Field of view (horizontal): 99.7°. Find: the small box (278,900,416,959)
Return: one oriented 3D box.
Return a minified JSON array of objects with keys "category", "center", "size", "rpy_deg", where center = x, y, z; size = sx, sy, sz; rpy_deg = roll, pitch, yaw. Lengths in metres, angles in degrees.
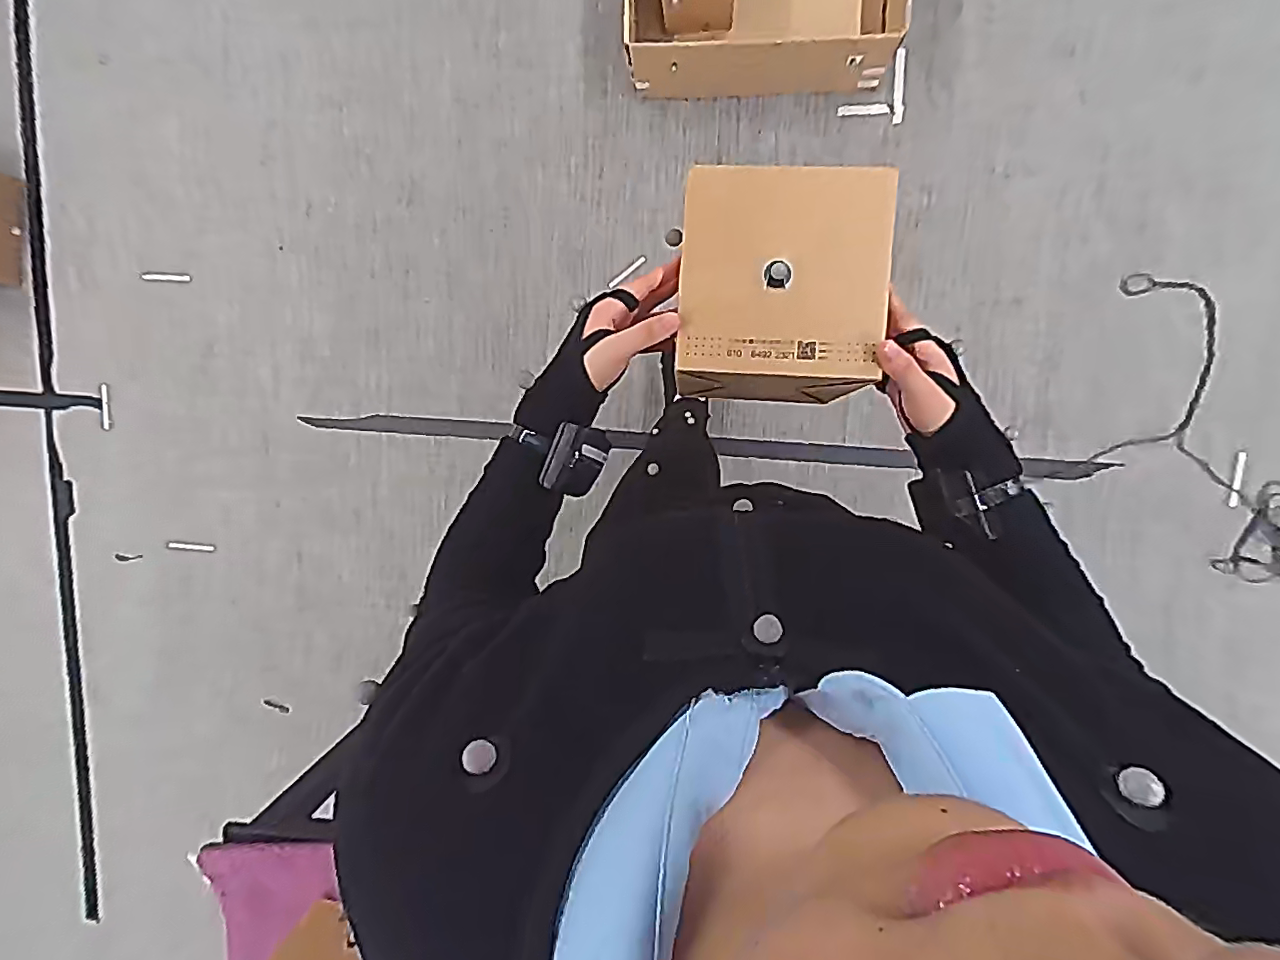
[{"category":"small box","center":[-0.452,0.783,0.800],"size":[0.168,0.176,0.179],"rpy_deg":[7,98,5]}]

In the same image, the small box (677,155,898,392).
[{"category":"small box","center":[0.125,-0.176,0.510],"size":[0.168,0.179,0.176],"rpy_deg":[4,93,6]}]
